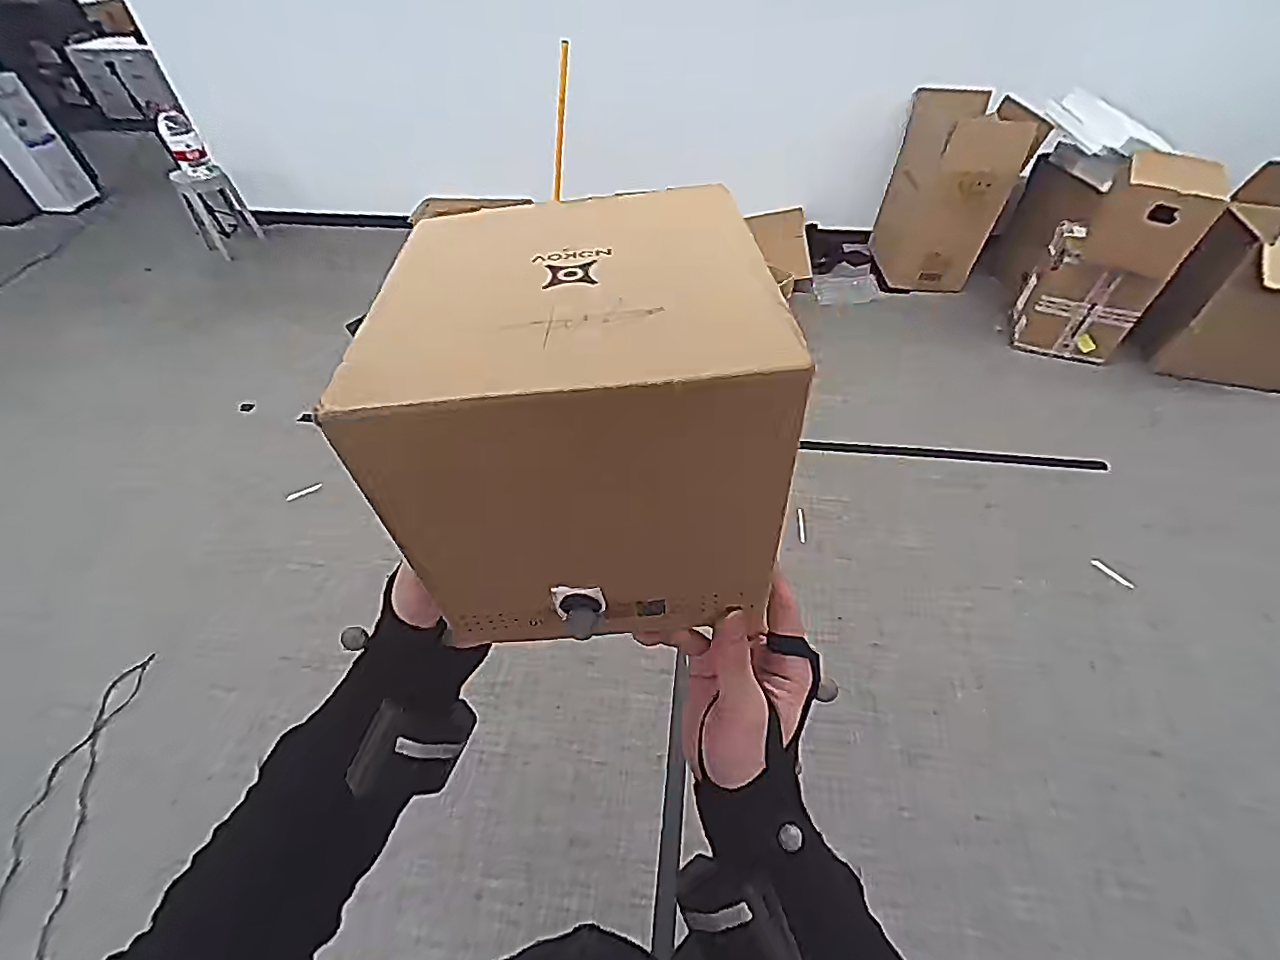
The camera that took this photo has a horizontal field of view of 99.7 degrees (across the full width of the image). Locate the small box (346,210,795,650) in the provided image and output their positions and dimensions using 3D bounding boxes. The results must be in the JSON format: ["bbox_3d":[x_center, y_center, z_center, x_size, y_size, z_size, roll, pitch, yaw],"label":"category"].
[{"bbox_3d":[-0.026,-0.029,0.307,0.168,0.176,0.179,-7,46,0],"label":"small box"}]
